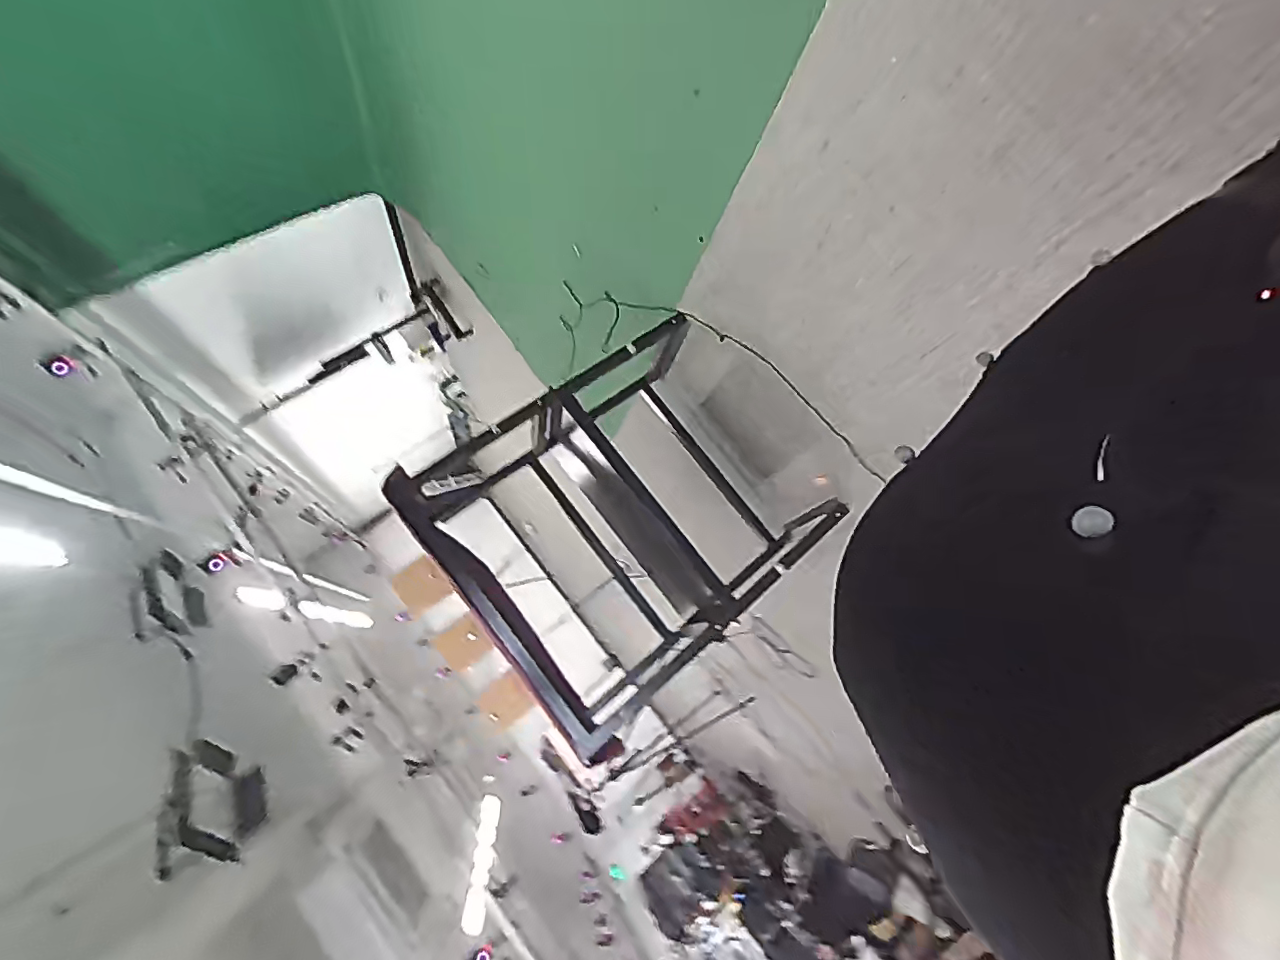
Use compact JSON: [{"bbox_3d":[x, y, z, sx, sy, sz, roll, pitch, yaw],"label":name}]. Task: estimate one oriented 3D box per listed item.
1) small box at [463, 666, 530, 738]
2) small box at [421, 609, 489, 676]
[{"bbox_3d":[-0.505,0.782,1.927,0.168,0.176,0.179,51,160,7],"label":"small box"},{"bbox_3d":[-0.661,0.585,1.956,0.168,0.176,0.179,52,159,5],"label":"small box"}]
